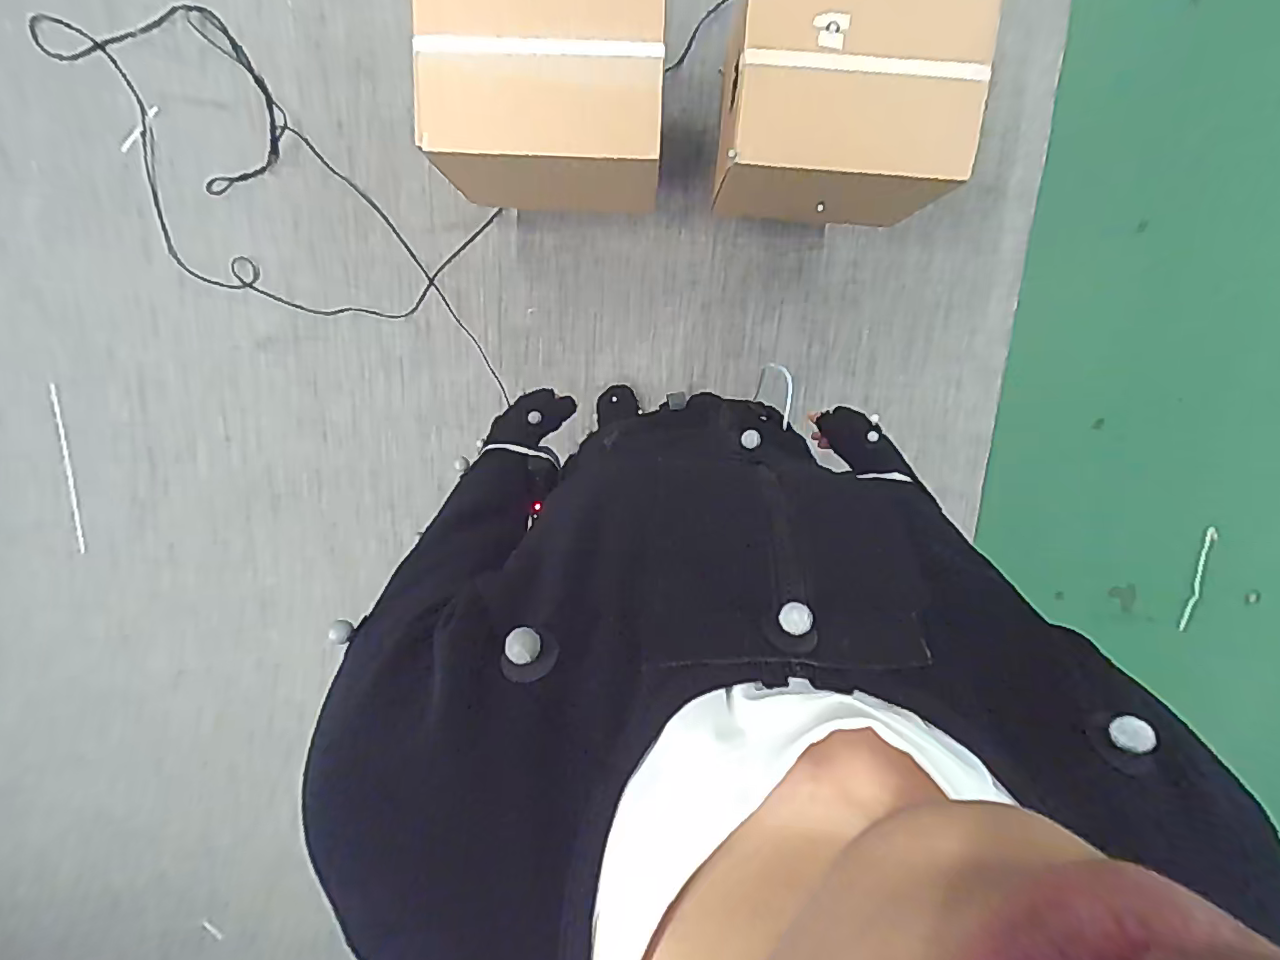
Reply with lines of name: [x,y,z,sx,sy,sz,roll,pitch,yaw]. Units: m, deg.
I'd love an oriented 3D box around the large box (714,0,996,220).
large box: [0.373,-0.709,1.038,0.408,0.320,0.320,4,101,0]
